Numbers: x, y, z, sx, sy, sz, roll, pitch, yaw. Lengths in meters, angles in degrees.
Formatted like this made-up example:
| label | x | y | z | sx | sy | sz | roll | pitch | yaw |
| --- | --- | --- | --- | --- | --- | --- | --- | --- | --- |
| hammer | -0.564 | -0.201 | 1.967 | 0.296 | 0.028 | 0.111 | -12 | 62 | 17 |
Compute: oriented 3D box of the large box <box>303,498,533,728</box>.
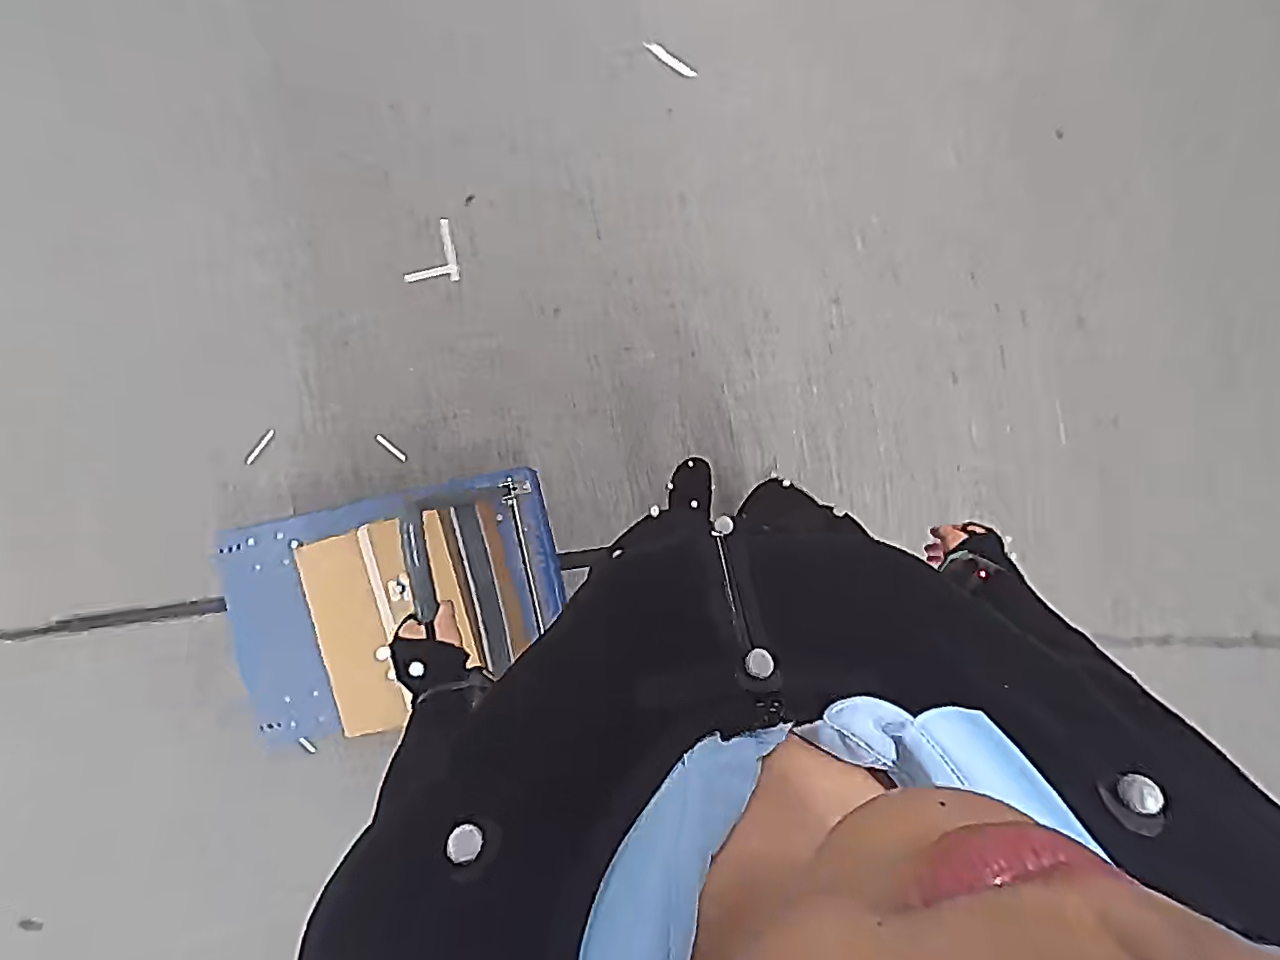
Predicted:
| label | x | y | z | sx | sy | sz | roll | pitch | yaw |
| --- | --- | --- | --- | --- | --- | --- | --- | --- | --- |
| large box | -0.478 | 0.276 | 1.238 | 0.320 | 0.320 | 0.408 | -15 | 90 | 3 |
